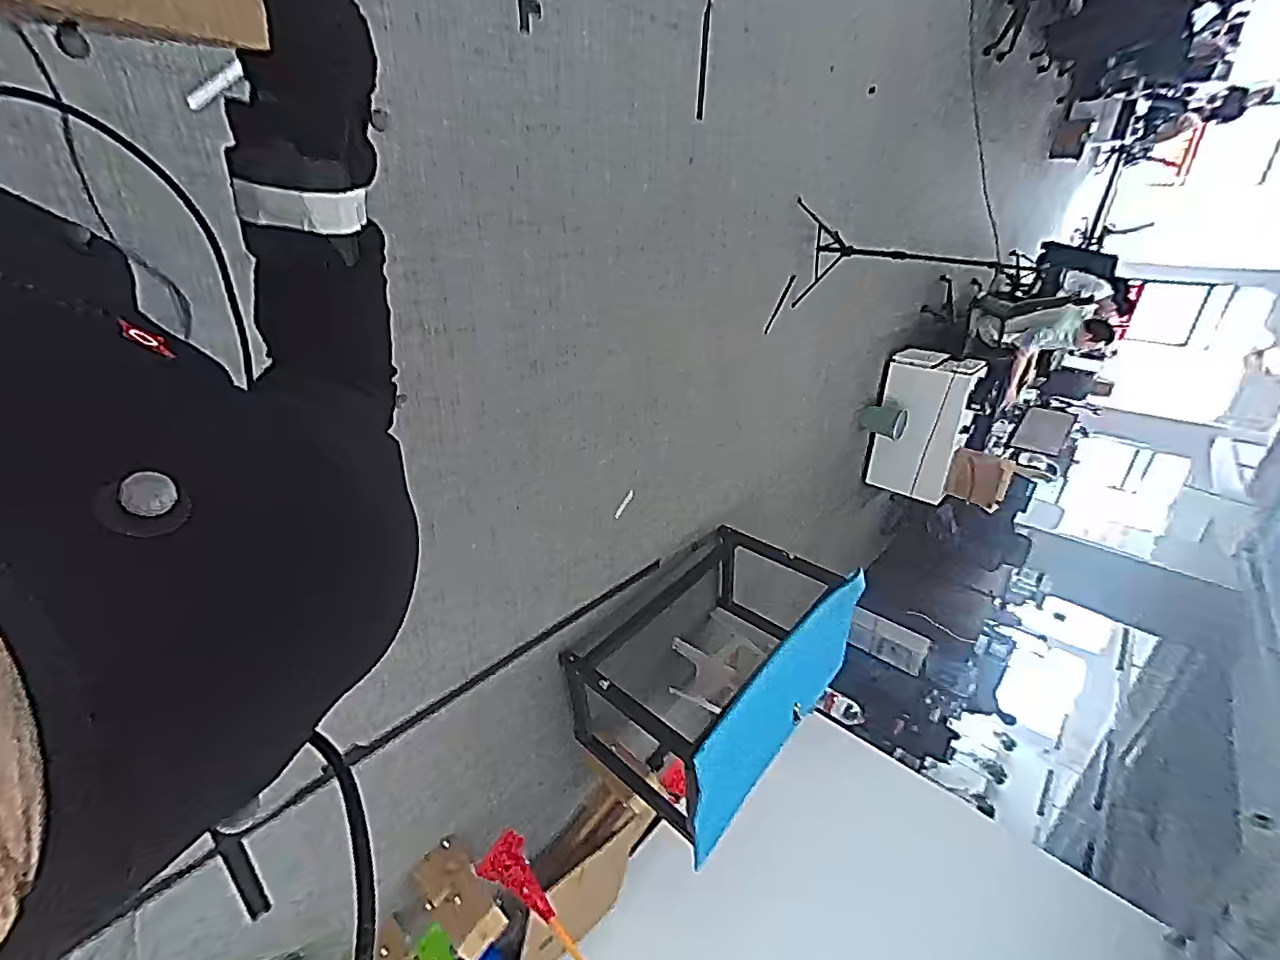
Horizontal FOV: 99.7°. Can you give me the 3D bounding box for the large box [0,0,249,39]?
[{"bbox_3d":[-0.418,-0.362,0.146,0.408,0.320,0.320,-24,135,-42],"label":"large box"}]
